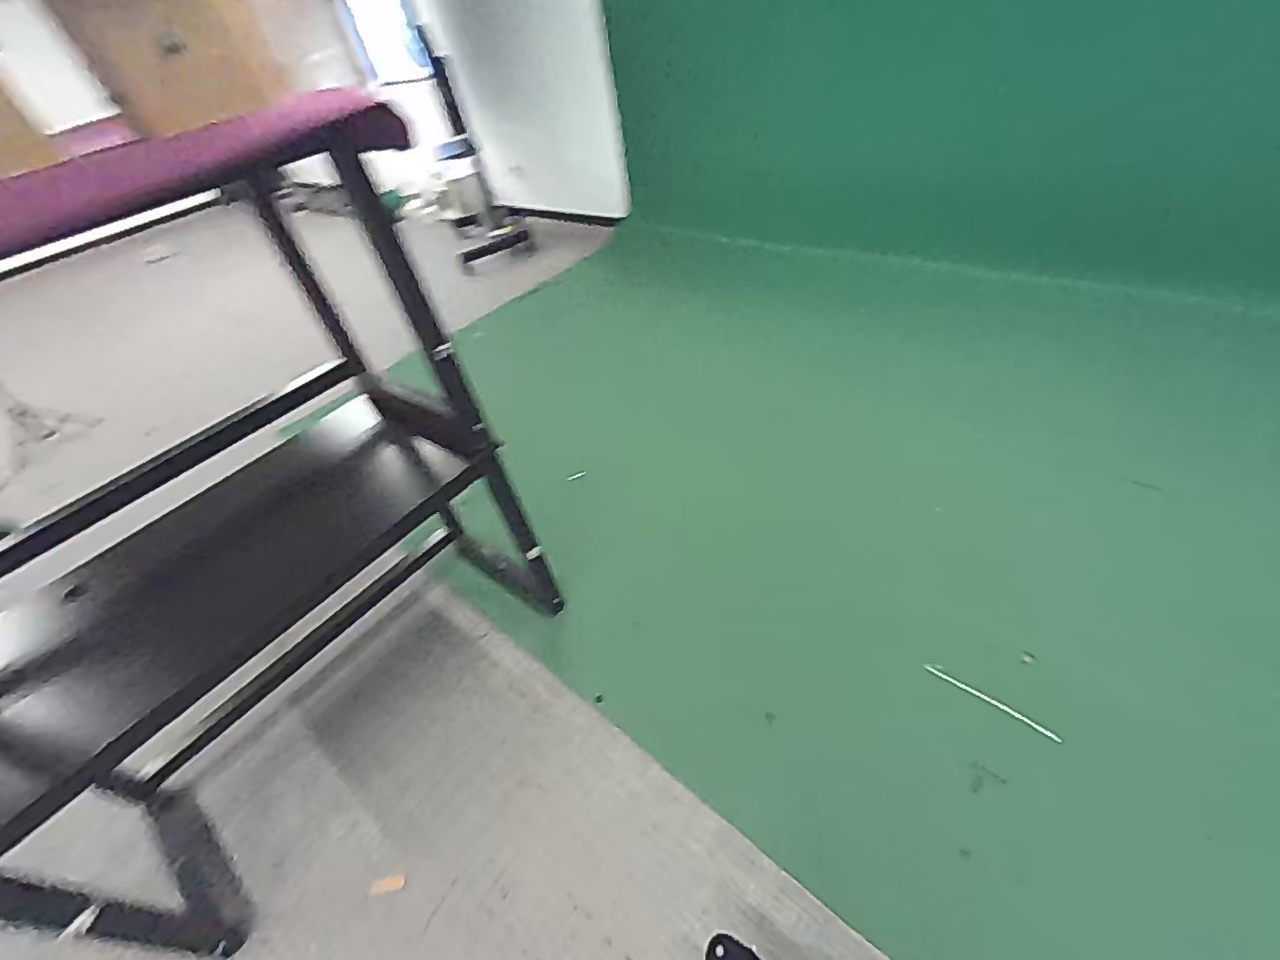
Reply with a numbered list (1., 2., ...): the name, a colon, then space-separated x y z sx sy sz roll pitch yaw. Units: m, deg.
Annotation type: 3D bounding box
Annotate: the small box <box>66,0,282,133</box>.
1. small box: -0.664 -0.628 0.787 0.168 0.176 0.179 26 56 34
